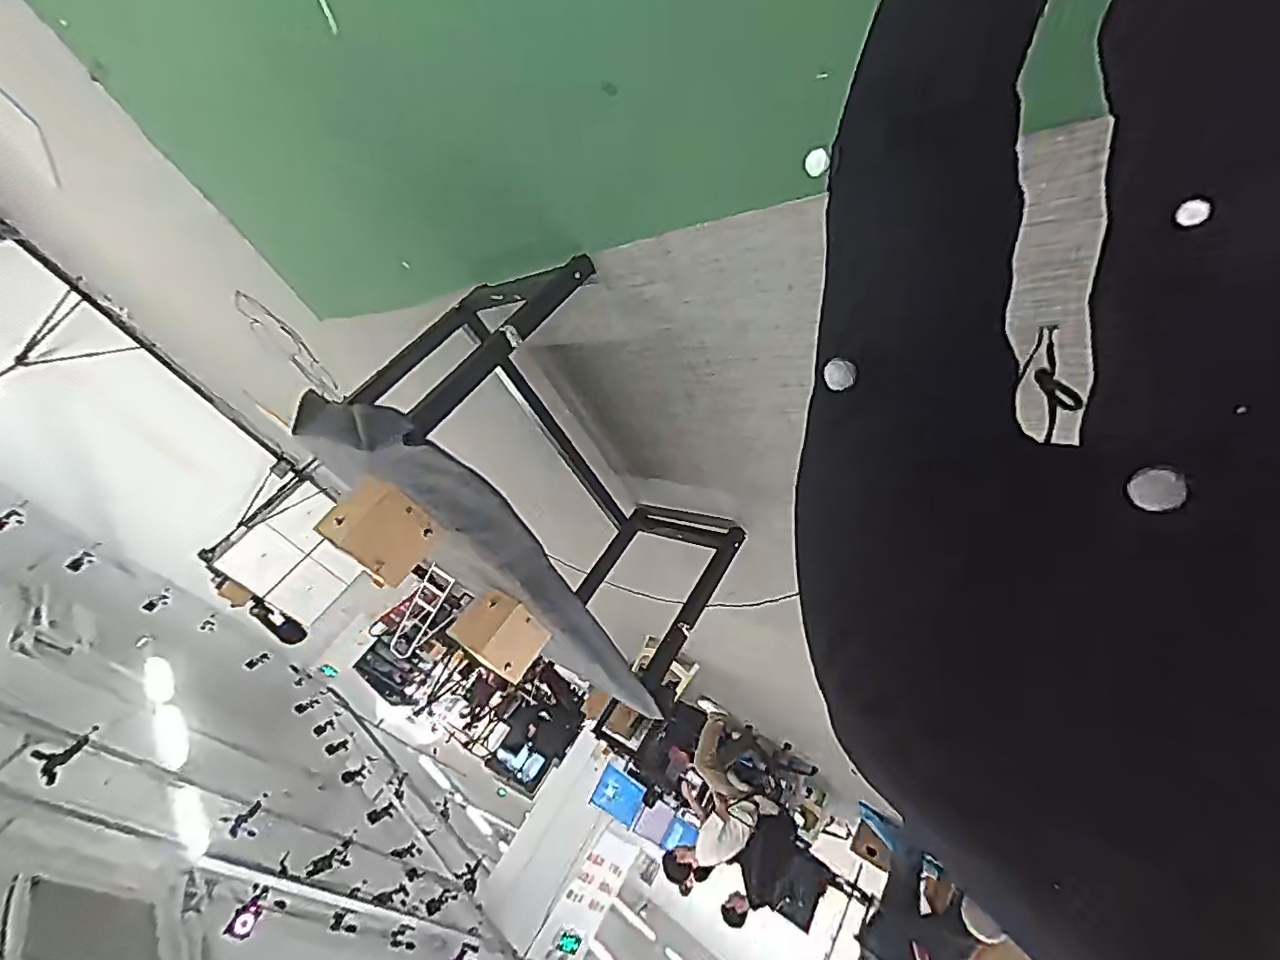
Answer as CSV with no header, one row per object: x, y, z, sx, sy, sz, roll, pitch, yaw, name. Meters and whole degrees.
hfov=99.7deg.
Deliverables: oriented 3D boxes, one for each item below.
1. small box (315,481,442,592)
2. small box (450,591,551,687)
-0.578,0.119,1.213,0.179,0.176,0.168,11,145,45,small box
-0.379,0.430,1.489,0.179,0.176,0.168,10,144,45,small box
